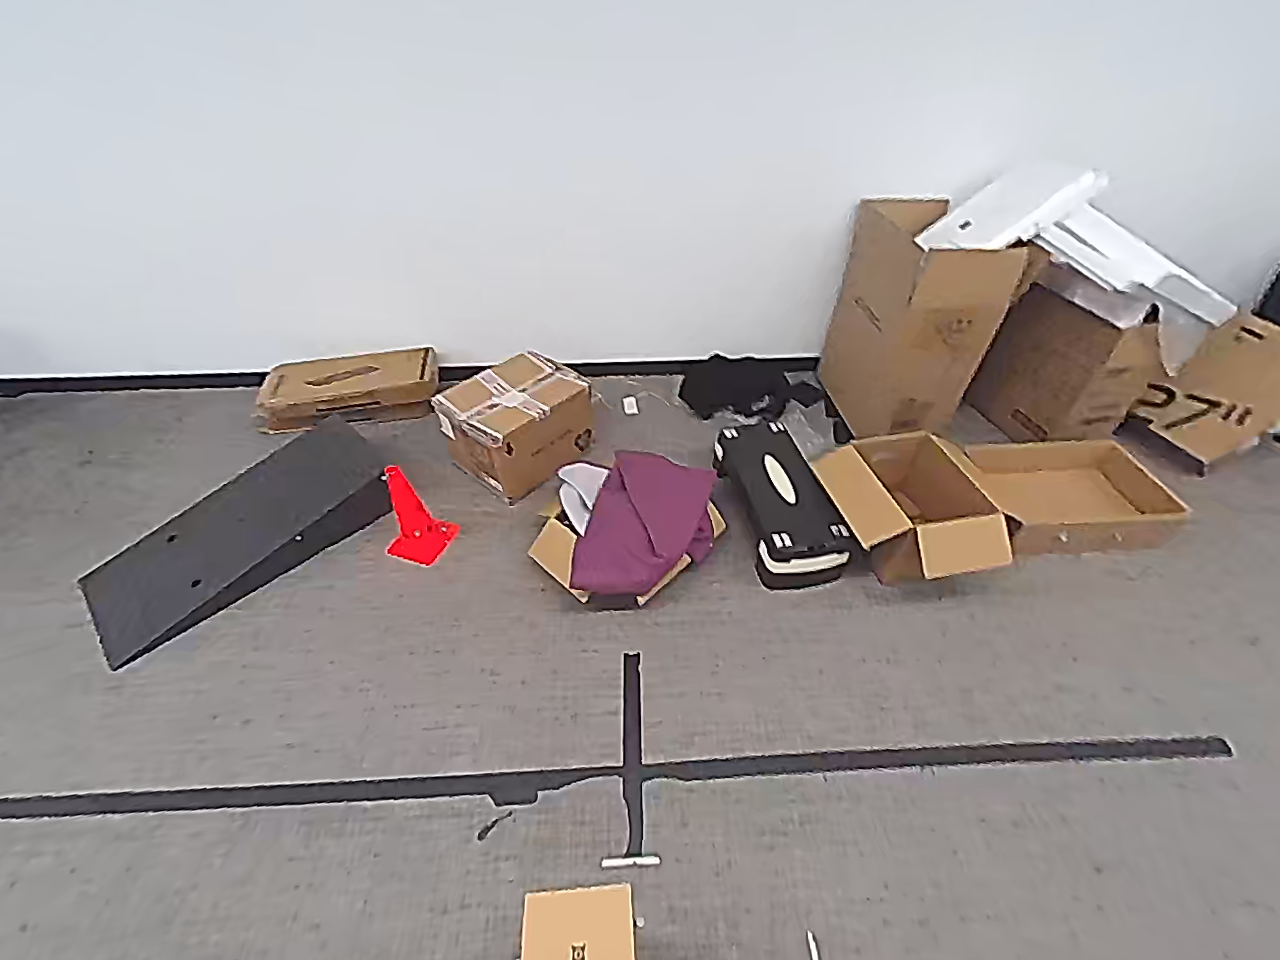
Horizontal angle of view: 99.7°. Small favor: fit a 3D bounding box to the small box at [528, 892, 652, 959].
[{"bbox_3d":[-0.065,0.703,0.750,0.168,0.176,0.179,-4,44,-2],"label":"small box"}]
